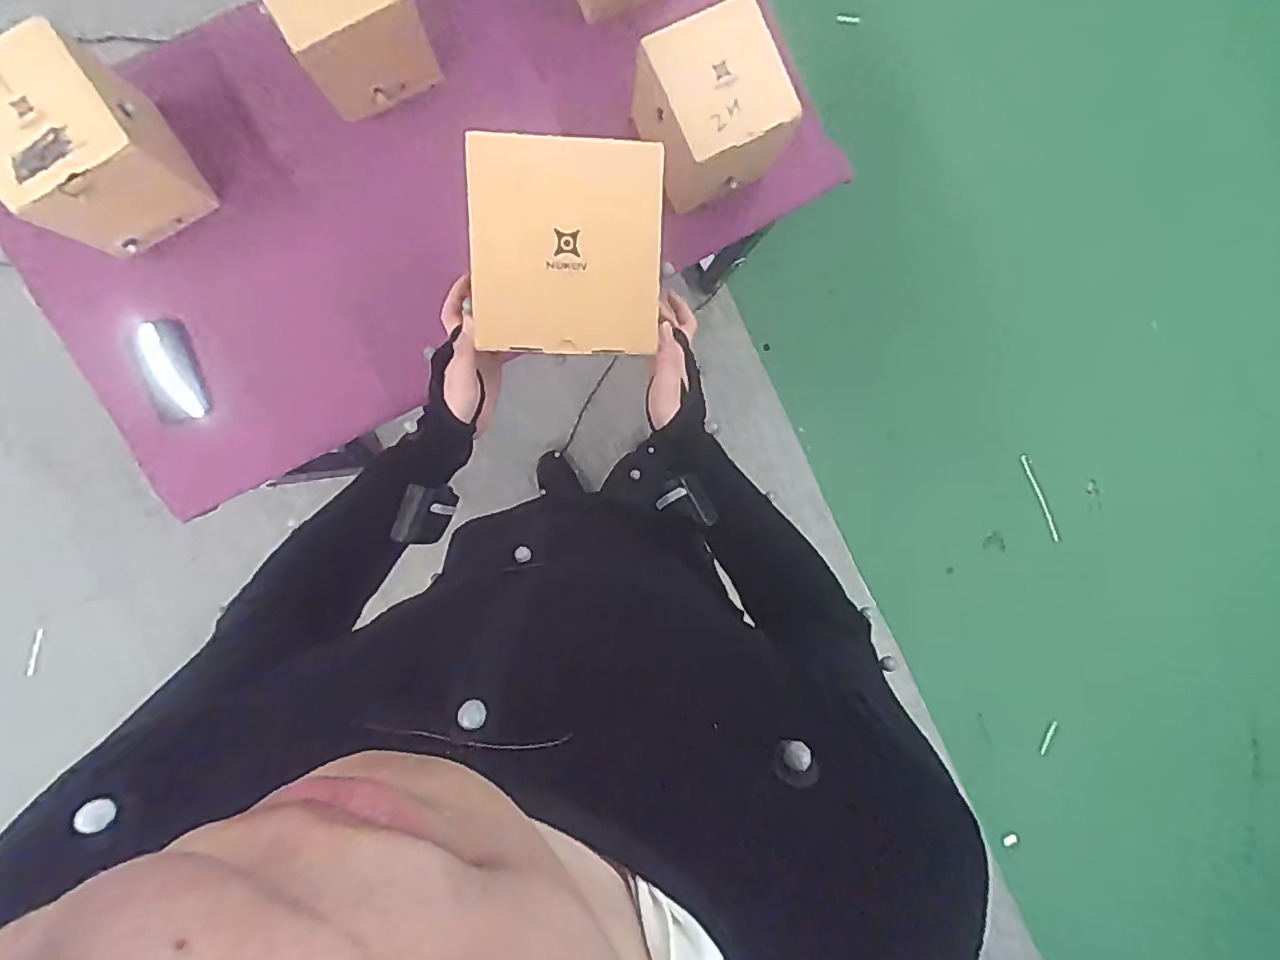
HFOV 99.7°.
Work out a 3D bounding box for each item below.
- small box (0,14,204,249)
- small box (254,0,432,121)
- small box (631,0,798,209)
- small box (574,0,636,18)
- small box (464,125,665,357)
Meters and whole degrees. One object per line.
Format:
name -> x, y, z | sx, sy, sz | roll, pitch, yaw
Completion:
small box -> -0.740, -0.432, 0.711 | 0.168, 0.176, 0.179 | -33, 95, -4
small box -> -0.415, -0.644, 0.734 | 0.168, 0.176, 0.179 | -29, 97, -3
small box -> 0.095, -0.538, 0.788 | 0.168, 0.176, 0.179 | -26, 96, -2
small box -> -0.045, -0.822, 0.760 | 0.168, 0.176, 0.179 | -26, 95, -3
small box -> -0.072, -0.215, 0.534 | 0.168, 0.176, 0.179 | 1, 104, -5
